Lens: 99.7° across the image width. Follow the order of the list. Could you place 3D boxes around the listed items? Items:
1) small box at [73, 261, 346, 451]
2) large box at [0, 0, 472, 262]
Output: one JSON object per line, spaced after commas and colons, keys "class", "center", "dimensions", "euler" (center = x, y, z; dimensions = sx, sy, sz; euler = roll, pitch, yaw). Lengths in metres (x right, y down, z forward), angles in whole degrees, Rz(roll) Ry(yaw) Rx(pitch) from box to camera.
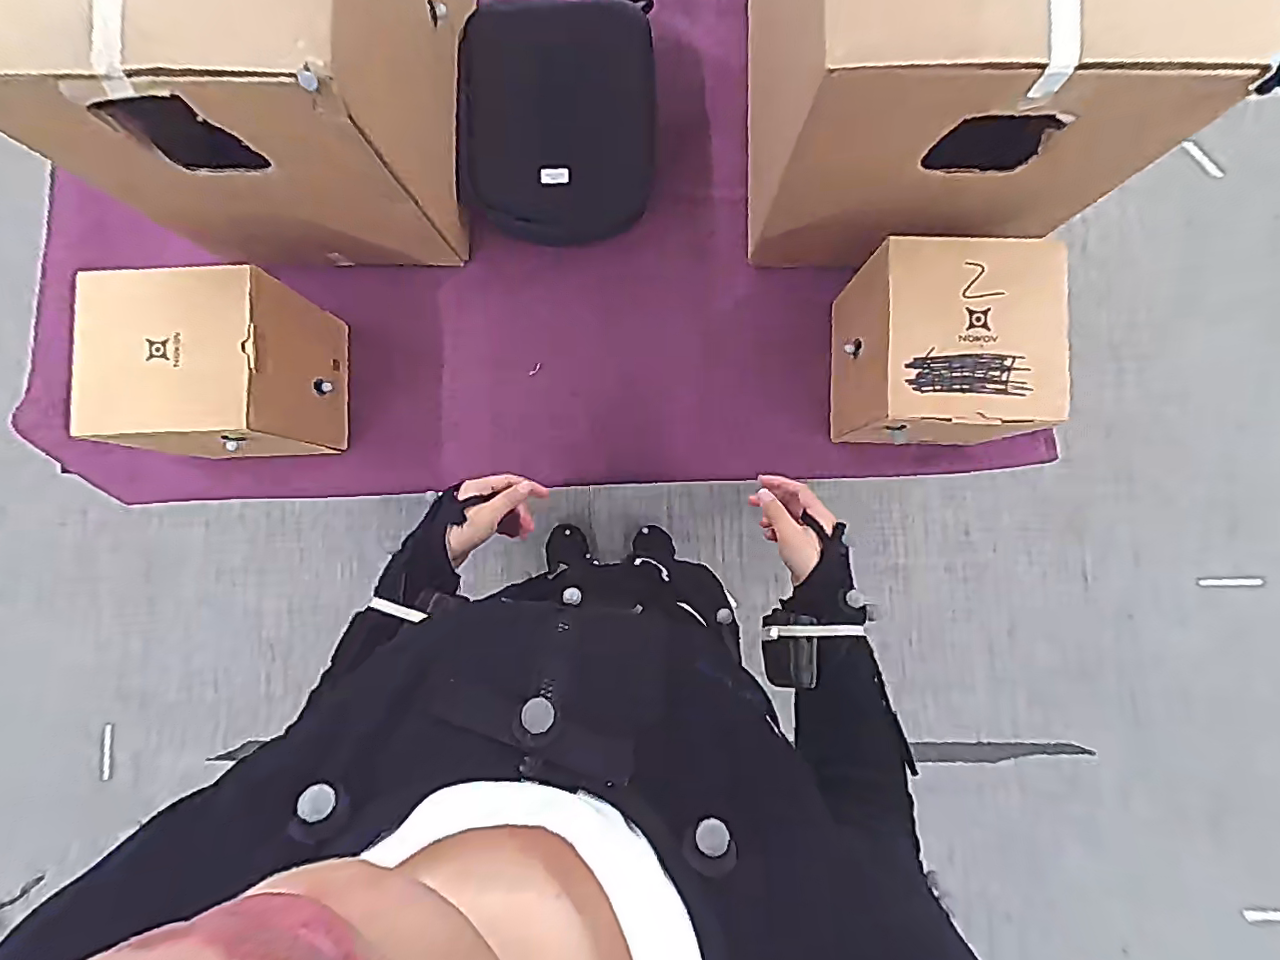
{"class": "small box", "center": [-0.464, -0.126, 0.609], "dimensions": [0.179, 0.176, 0.168], "euler": [-3, 86, 0]}
{"class": "large box", "center": [-0.371, -0.483, 0.556], "dimensions": [0.320, 0.320, 0.408], "euler": [0, 90, 2]}
